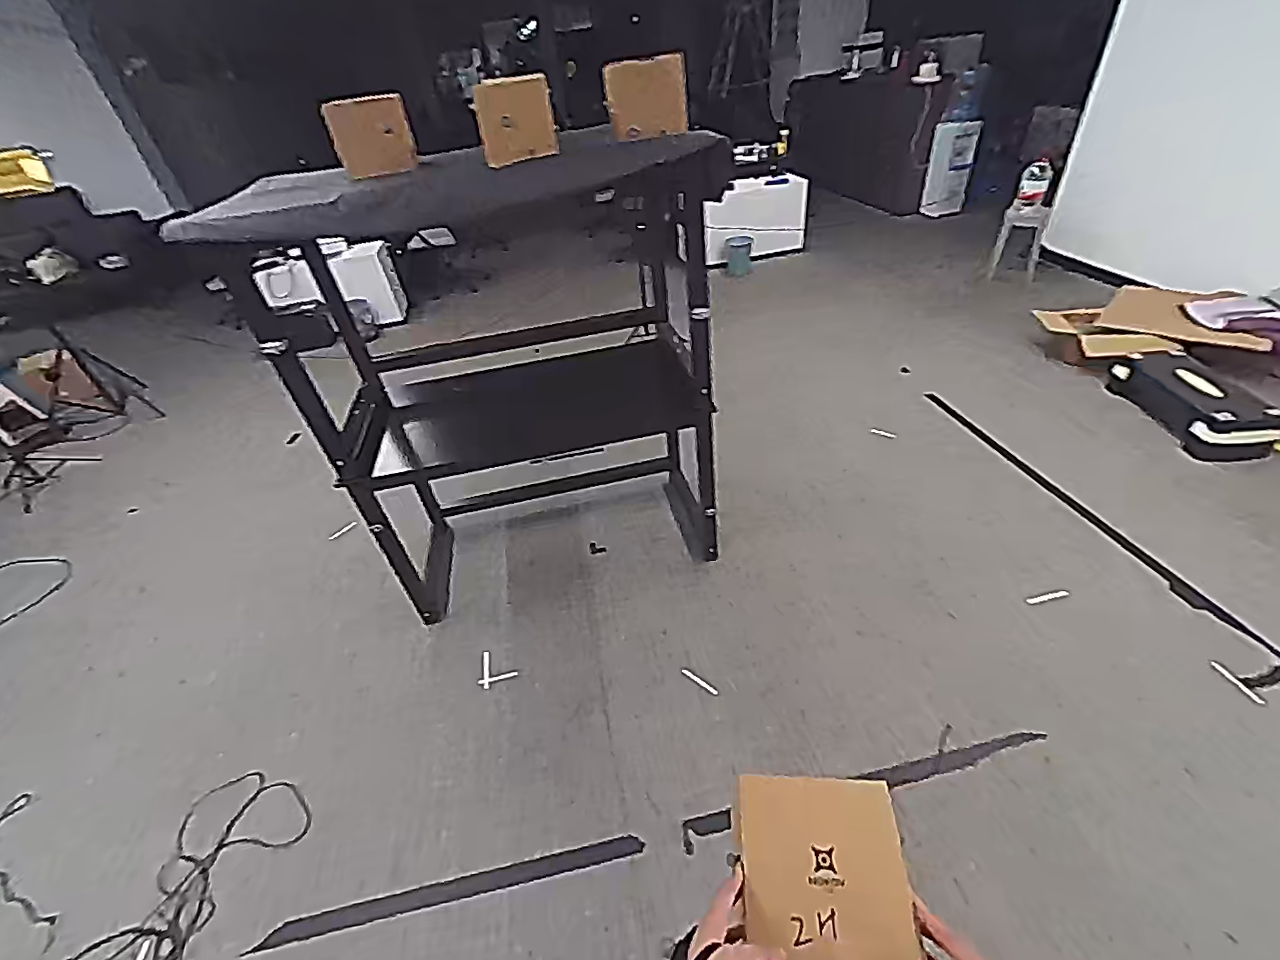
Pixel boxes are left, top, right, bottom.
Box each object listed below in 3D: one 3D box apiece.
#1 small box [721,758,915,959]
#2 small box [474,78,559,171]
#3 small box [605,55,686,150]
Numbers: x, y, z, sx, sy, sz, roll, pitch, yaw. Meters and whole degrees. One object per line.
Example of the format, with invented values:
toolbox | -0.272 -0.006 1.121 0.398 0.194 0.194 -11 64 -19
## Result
small box | 0.179 0.438 0.608 0.168 0.176 0.179 0 45 6
small box | -0.298 -0.869 1.327 0.168 0.176 0.179 -12 36 -5
small box | 0.014 -0.922 1.331 0.168 0.176 0.179 -11 35 -3
